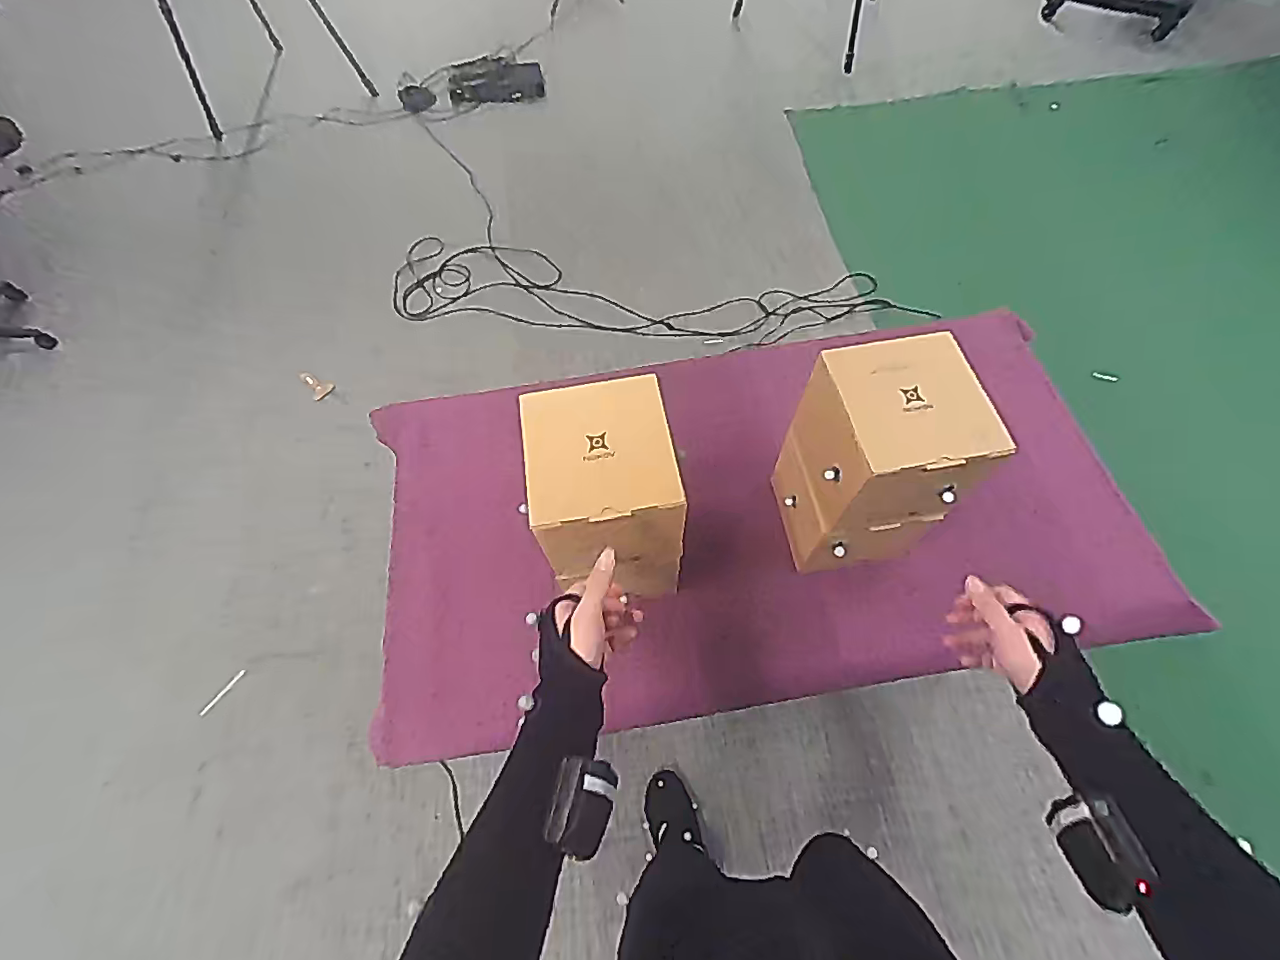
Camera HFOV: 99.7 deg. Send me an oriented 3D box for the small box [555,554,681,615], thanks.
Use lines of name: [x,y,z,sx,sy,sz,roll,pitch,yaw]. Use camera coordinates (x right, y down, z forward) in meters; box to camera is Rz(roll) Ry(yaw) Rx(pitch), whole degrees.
small box: [-0.036,0.085,0.802,0.168,0.176,0.179,-8,62,-2]

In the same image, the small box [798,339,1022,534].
small box: [0.314,-0.044,0.673,0.168,0.176,0.179,-8,61,-3]

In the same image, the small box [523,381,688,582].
small box: [-0.042,0.007,0.660,0.168,0.176,0.179,-9,63,-4]
